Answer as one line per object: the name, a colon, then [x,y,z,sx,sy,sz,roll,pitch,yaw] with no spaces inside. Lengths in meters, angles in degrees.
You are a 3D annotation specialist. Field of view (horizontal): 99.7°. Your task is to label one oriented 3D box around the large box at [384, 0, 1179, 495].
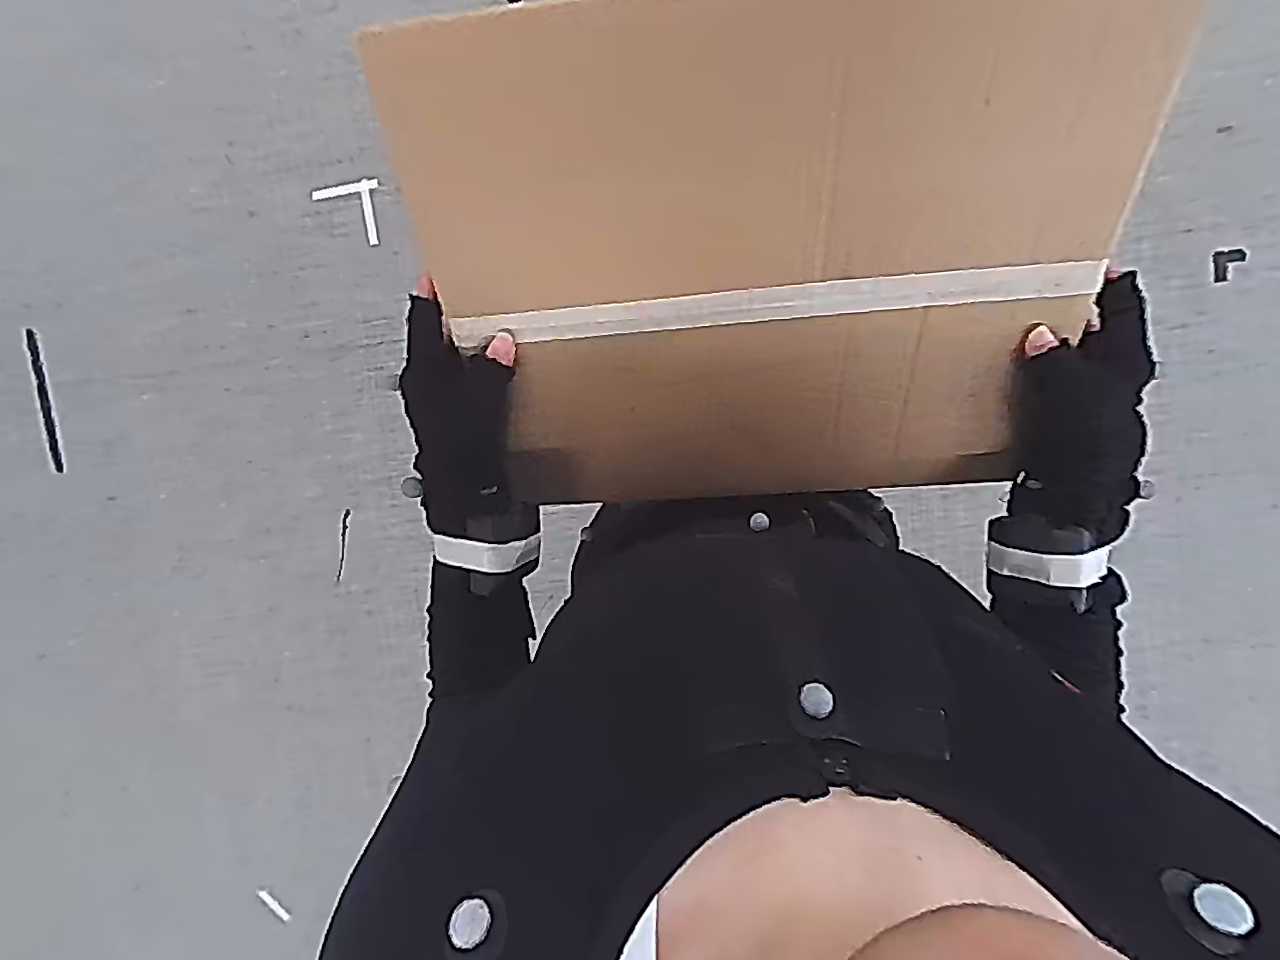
large box: [0.079,-0.211,0.471,0.408,0.320,0.320,-3,129,5]
